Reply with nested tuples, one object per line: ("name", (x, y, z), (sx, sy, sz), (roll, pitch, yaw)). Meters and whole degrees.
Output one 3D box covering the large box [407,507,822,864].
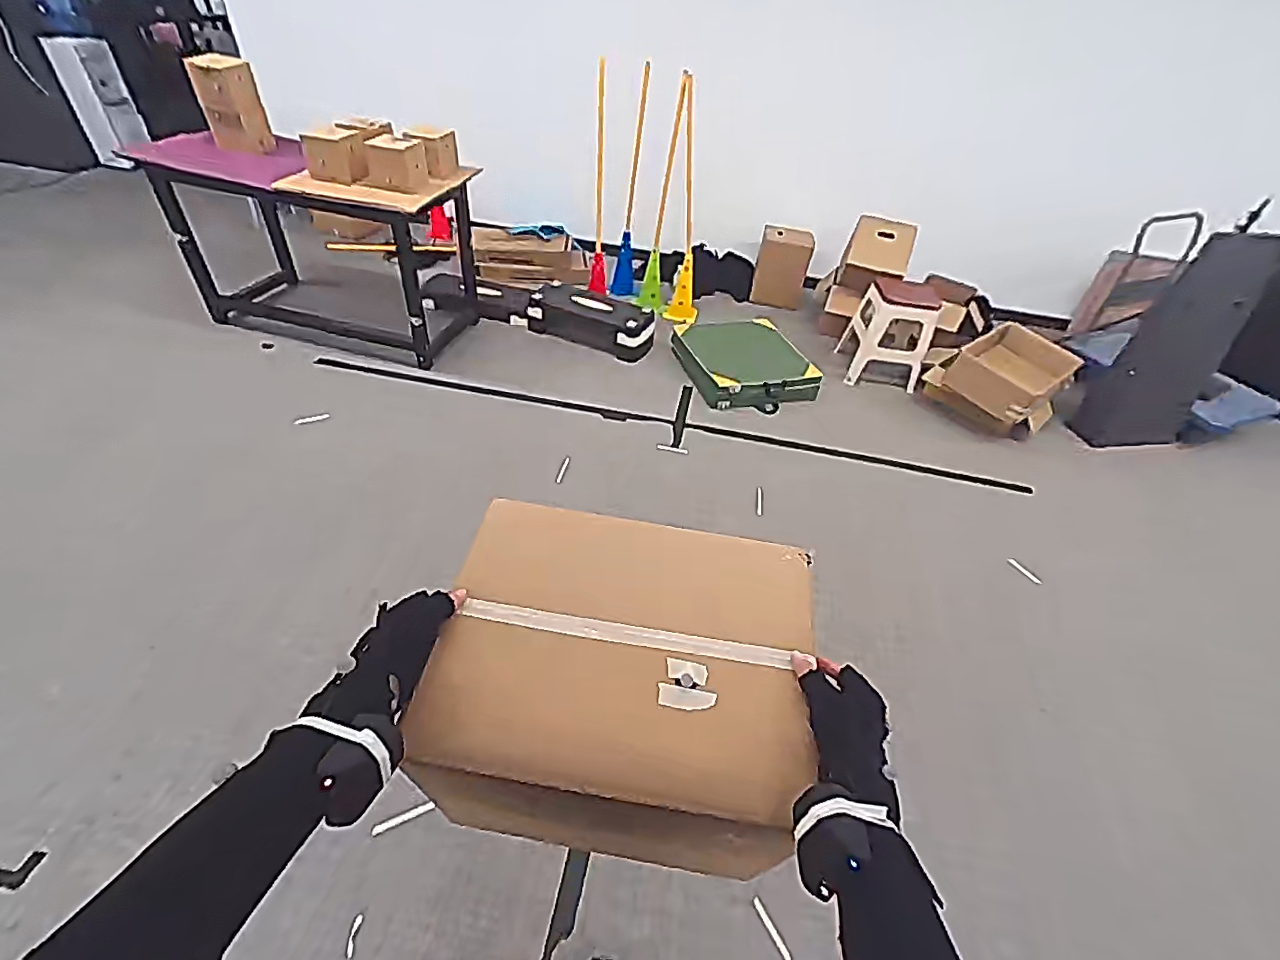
("large box", (-0.022, 0.272, 0.713), (0.408, 0.320, 0.320), (9, 48, 2))
